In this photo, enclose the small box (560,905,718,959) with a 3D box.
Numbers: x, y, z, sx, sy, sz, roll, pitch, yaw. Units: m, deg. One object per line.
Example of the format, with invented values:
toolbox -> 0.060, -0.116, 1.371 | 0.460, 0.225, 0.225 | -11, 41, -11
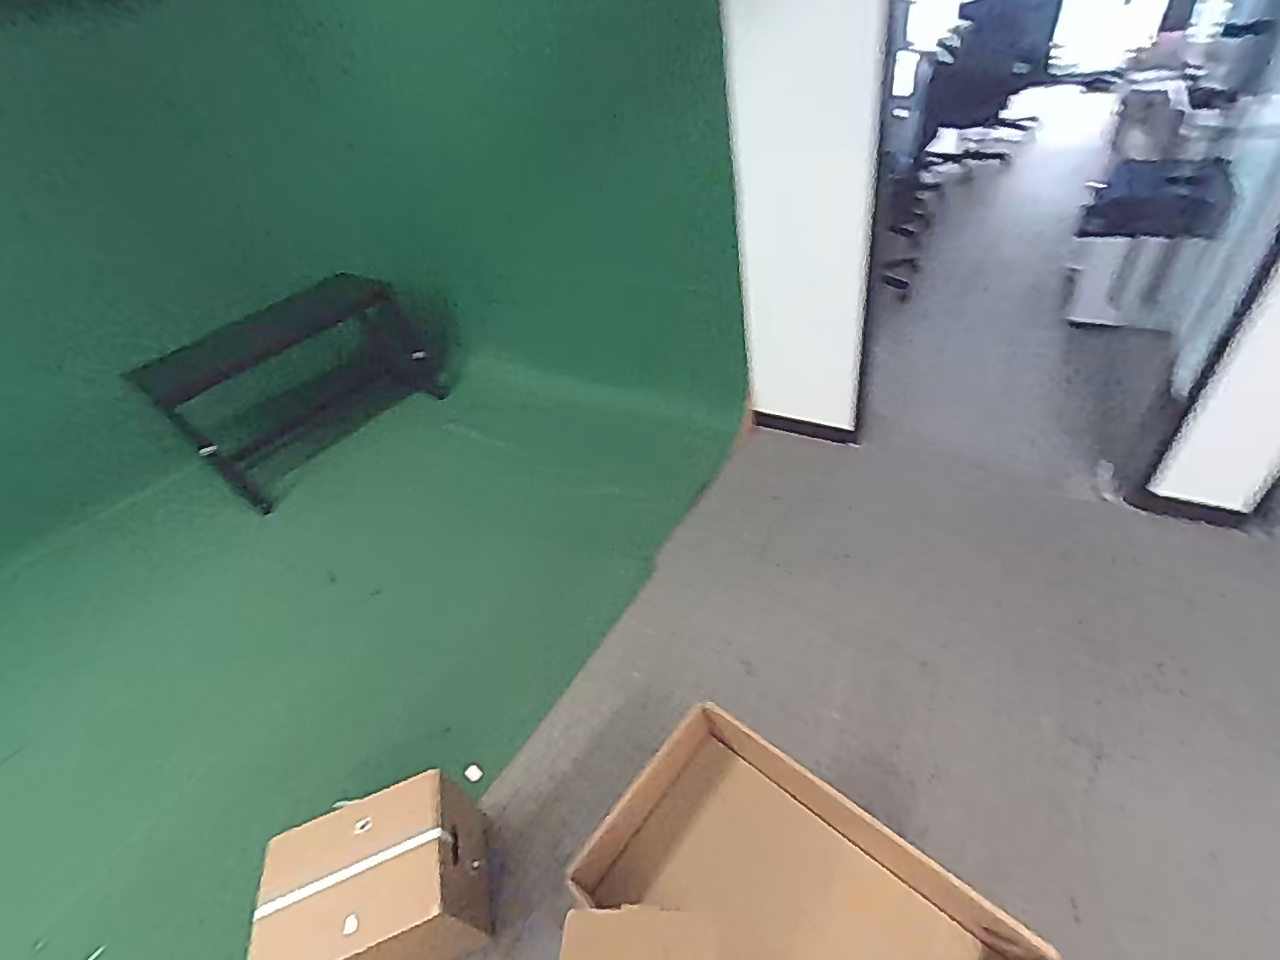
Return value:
small box -> 0.001, 0.578, 0.543 | 0.168, 0.176, 0.179 | -3, 16, 2
